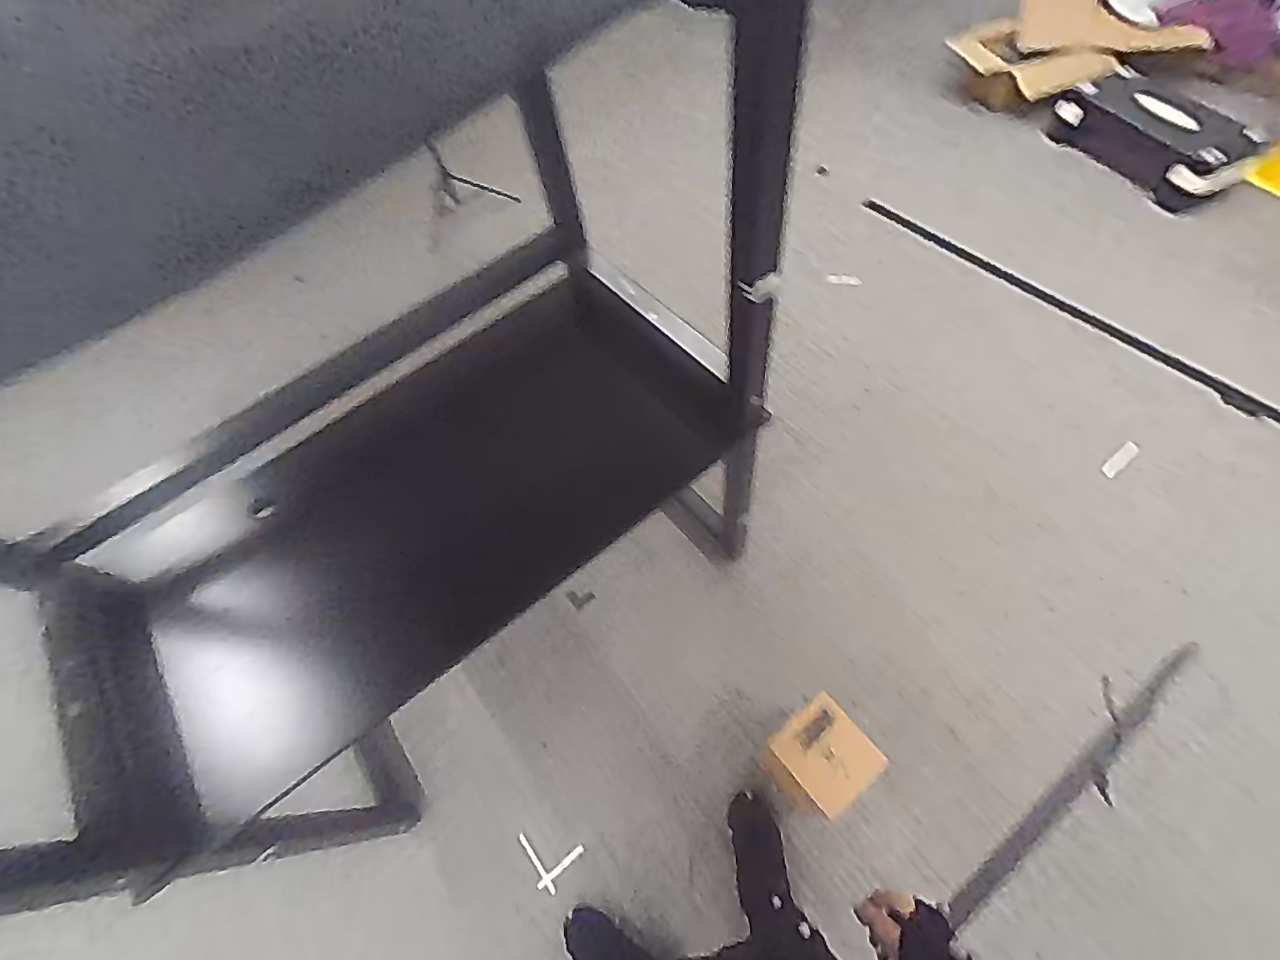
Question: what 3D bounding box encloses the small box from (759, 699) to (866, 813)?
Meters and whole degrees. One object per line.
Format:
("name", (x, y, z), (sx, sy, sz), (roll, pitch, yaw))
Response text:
("small box", (0.400, 0.655, 1.290), (0.179, 0.176, 0.168), (-40, 64, -12))
